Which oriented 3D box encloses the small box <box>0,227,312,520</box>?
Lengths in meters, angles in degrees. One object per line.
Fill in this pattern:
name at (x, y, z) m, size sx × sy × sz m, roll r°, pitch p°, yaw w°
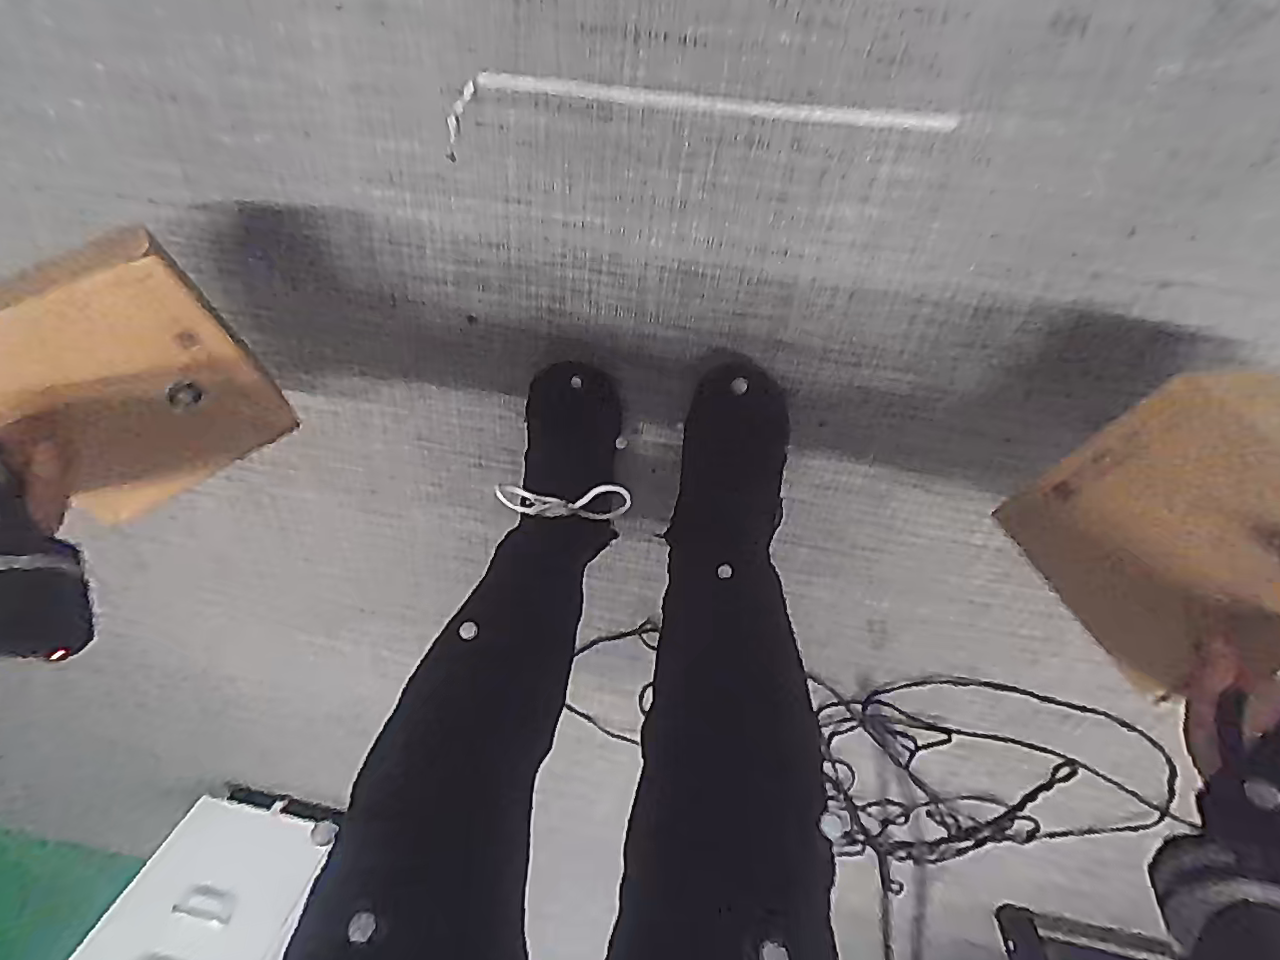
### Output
small box at (-0.432, -0.104, 0.478) m, size 0.179 × 0.176 × 0.168 m, roll 31°, pitch 150°, yaw 36°
